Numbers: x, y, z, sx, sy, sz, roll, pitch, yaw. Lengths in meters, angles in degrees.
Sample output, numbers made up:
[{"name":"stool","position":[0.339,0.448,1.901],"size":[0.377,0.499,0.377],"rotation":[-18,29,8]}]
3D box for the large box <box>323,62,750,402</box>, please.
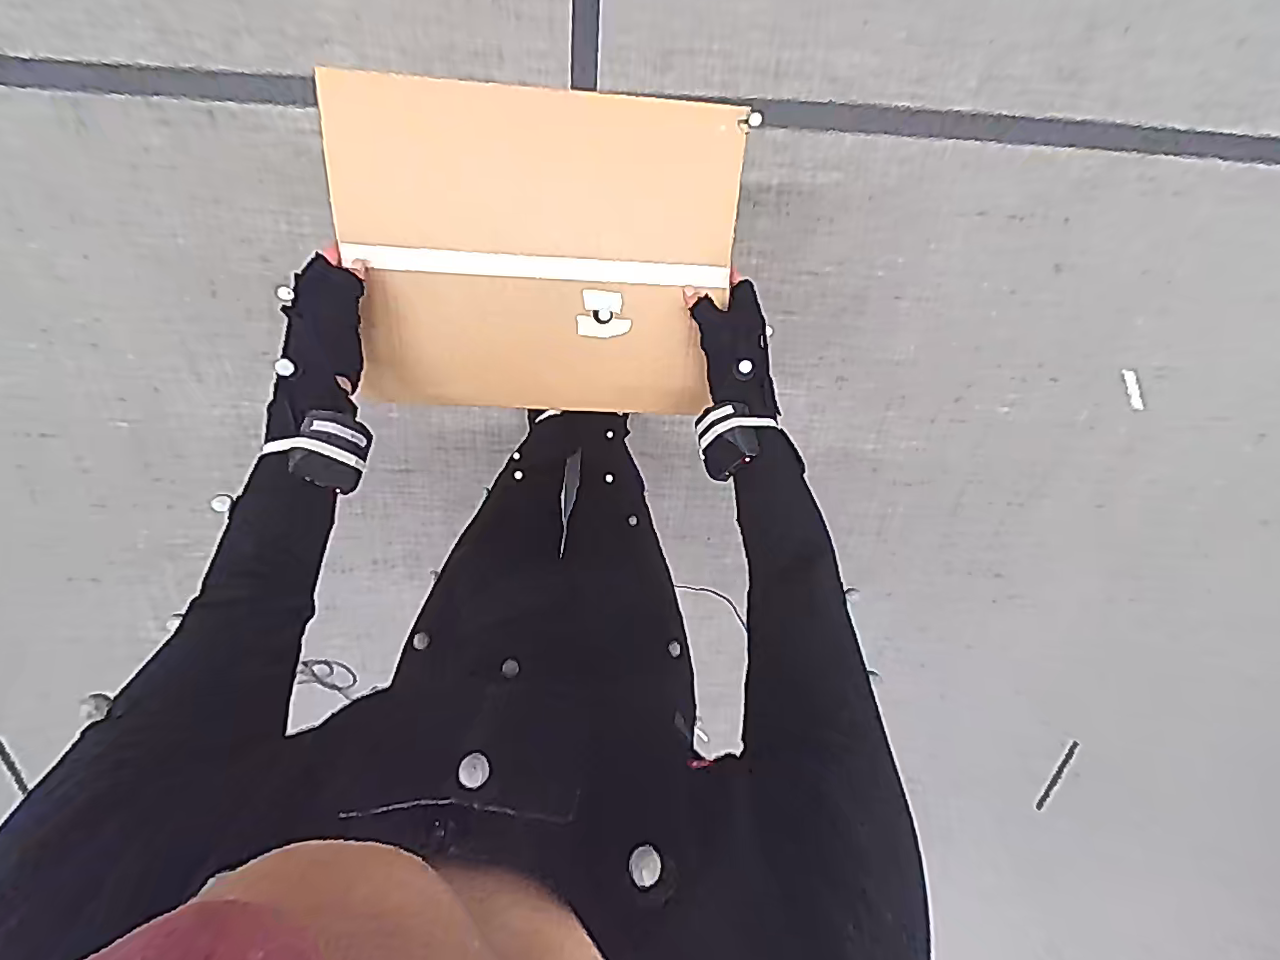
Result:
[{"name":"large box","position":[-0.111,-0.293,0.699],"size":[0.408,0.320,0.320],"rotation":[1,115,-6]}]
